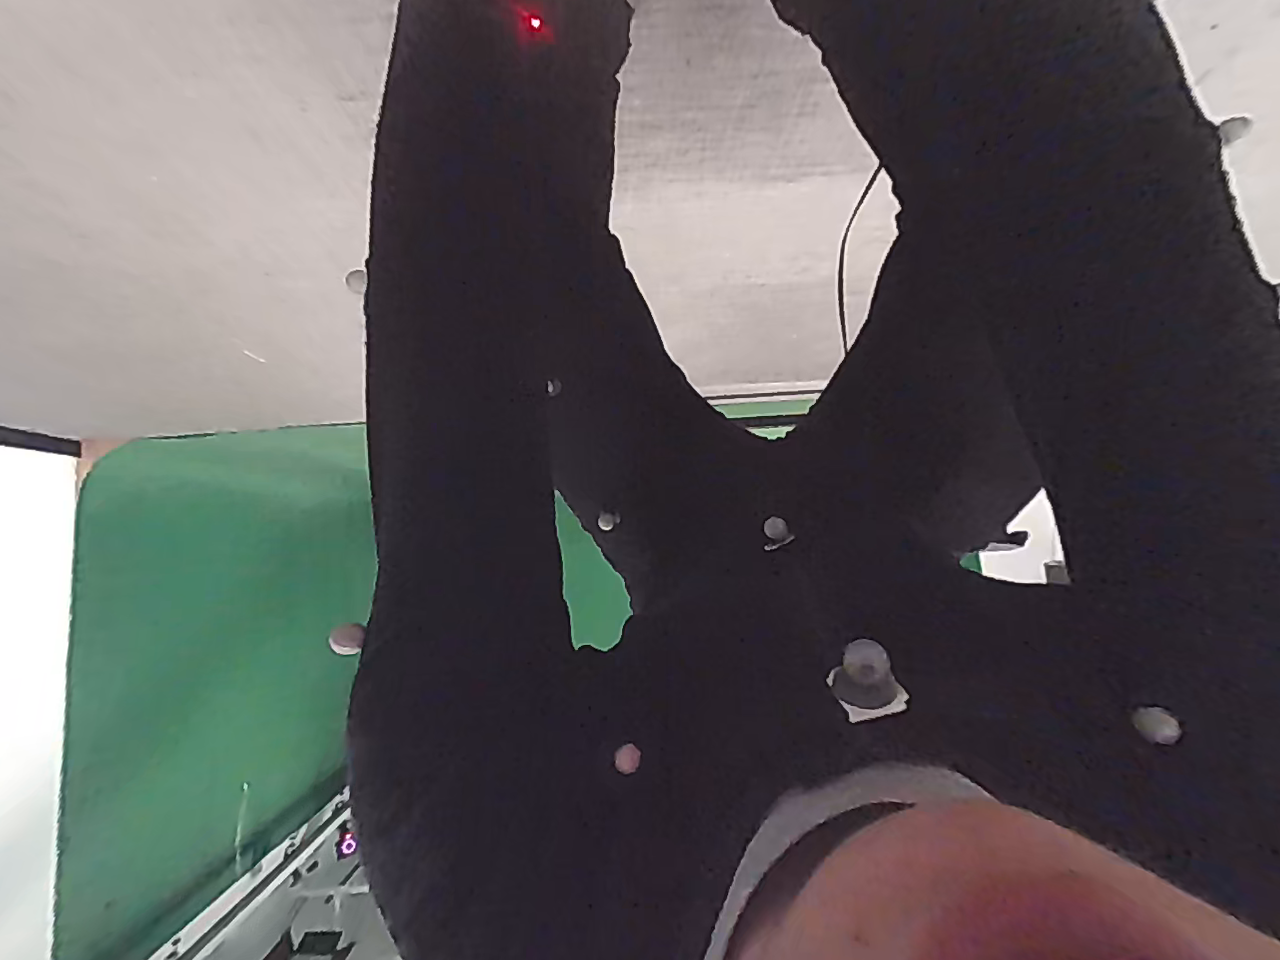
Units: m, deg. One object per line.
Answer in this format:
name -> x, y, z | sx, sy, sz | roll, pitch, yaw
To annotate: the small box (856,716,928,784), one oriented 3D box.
small box -> 0.903, 0.966, 1.951 | 0.179, 0.176, 0.168 | -6, 173, 0
